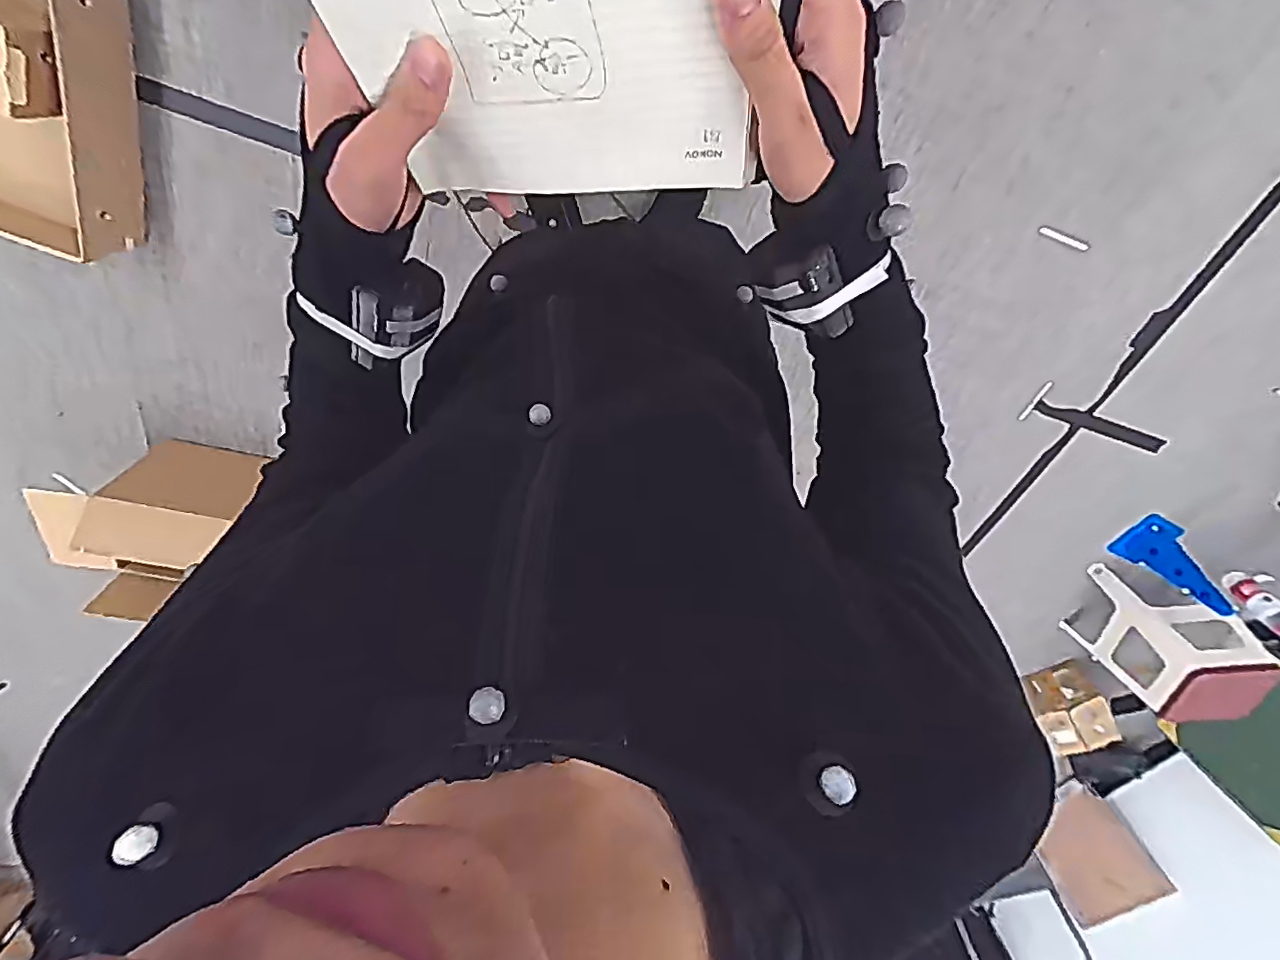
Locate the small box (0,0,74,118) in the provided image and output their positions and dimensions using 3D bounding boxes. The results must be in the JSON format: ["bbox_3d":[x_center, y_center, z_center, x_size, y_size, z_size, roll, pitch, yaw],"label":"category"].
[{"bbox_3d":[-1.266,-0.846,1.051,0.179,0.176,0.168,26,121,-19],"label":"small box"}]
